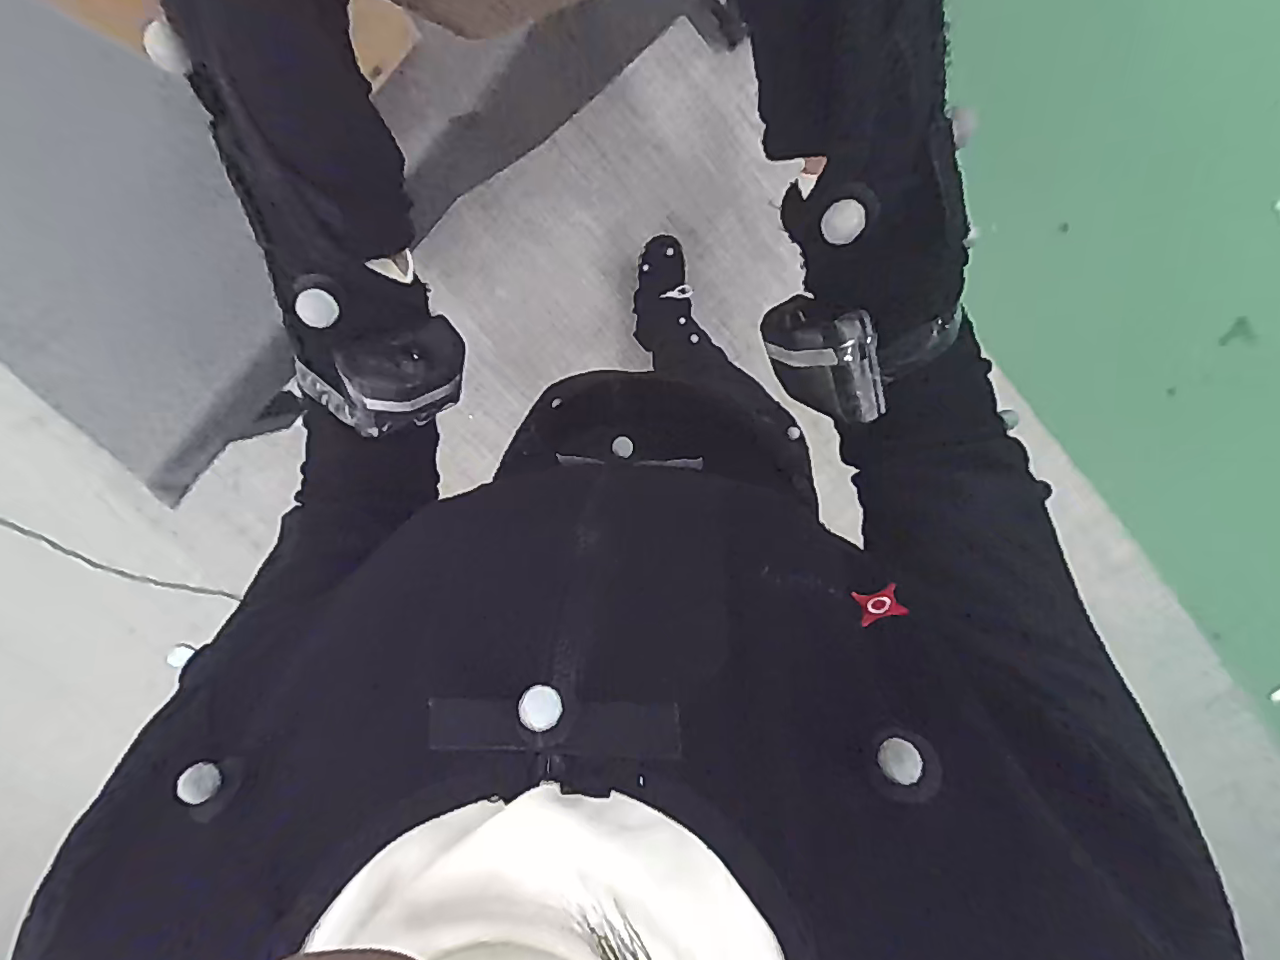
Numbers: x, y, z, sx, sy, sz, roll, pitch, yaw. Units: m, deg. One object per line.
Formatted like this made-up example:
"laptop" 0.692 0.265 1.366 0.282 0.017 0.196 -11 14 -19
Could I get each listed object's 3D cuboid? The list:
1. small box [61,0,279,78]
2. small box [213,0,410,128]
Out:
"small box" -0.344 -0.418 0.340 0.179 0.176 0.168 -40 98 12
"small box" -0.352 -0.465 0.496 0.179 0.176 0.168 43 102 -9
